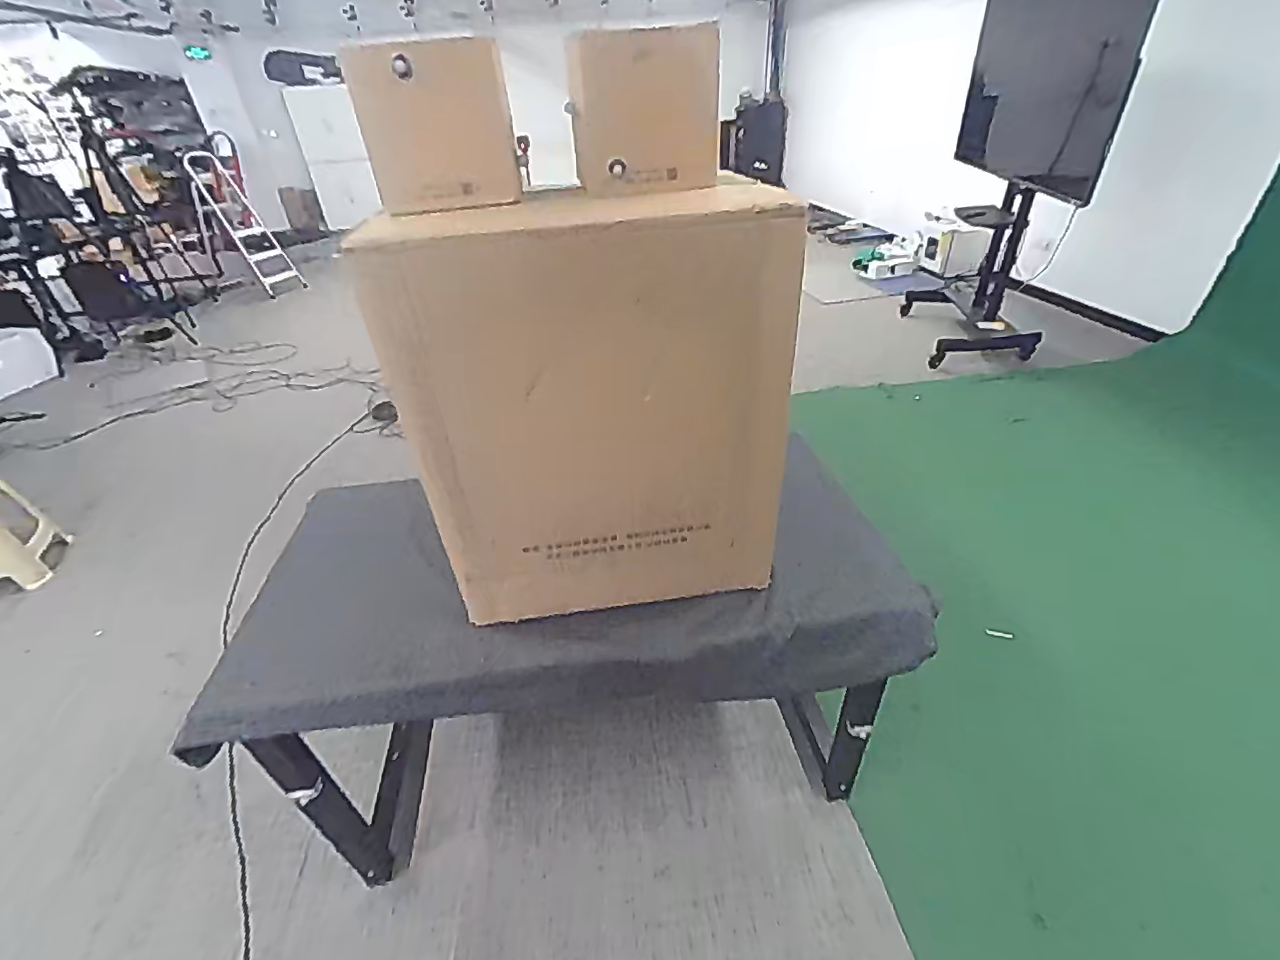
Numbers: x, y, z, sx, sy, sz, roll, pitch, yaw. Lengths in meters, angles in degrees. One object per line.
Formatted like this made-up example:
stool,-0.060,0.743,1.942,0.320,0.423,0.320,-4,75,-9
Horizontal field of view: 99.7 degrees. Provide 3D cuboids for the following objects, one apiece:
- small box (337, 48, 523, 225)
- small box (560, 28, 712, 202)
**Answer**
small box,-0.252,-0.439,0.701,0.168,0.176,0.179,-10,35,-4
small box,-0.006,-0.477,0.718,0.168,0.176,0.179,-10,36,-7
